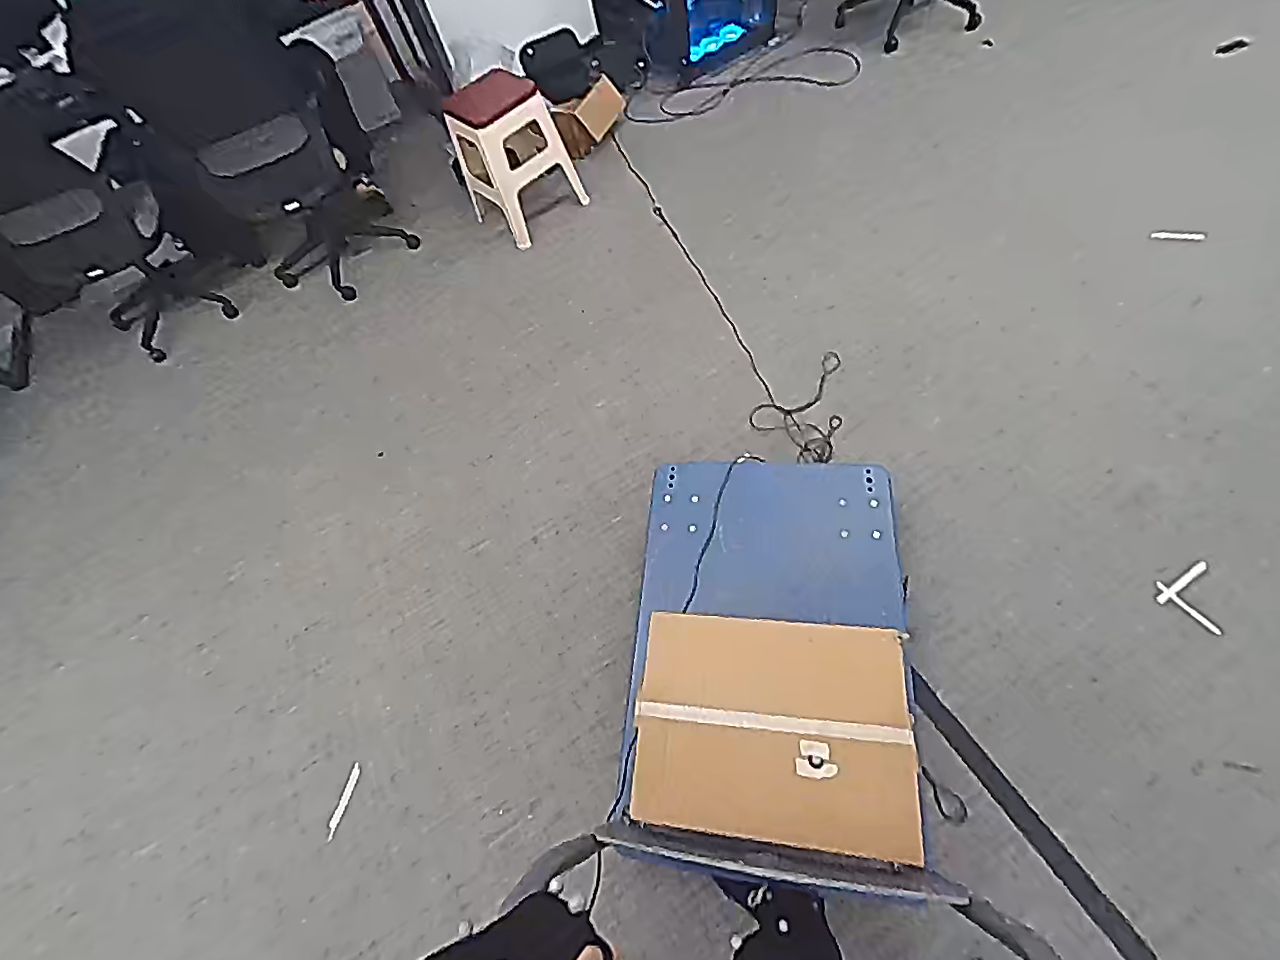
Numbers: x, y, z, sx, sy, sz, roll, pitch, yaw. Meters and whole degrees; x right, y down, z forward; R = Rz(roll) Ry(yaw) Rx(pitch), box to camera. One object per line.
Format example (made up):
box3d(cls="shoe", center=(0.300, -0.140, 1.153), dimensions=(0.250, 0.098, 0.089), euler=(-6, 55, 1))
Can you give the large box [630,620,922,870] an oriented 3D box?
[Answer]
box3d(cls="large box", center=(0.215, 0.447, 0.943), dimensions=(0.408, 0.320, 0.320), euler=(1, 63, 12))
